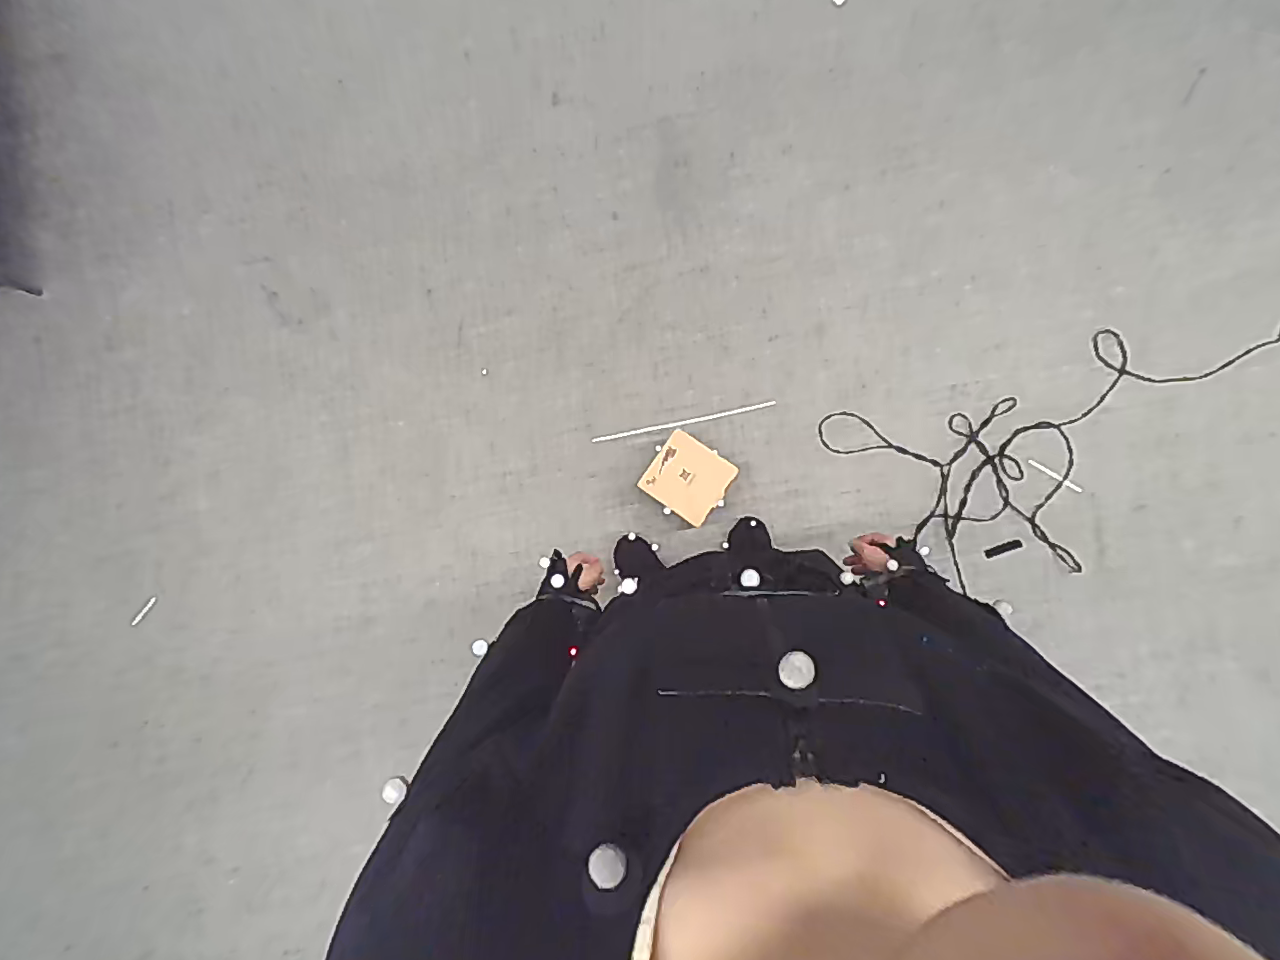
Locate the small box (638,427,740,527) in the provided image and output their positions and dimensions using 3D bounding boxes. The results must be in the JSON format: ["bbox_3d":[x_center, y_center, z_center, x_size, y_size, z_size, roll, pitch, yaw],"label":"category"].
[{"bbox_3d":[0.117,-0.005,1.294,0.179,0.176,0.168,35,90,6],"label":"small box"}]
